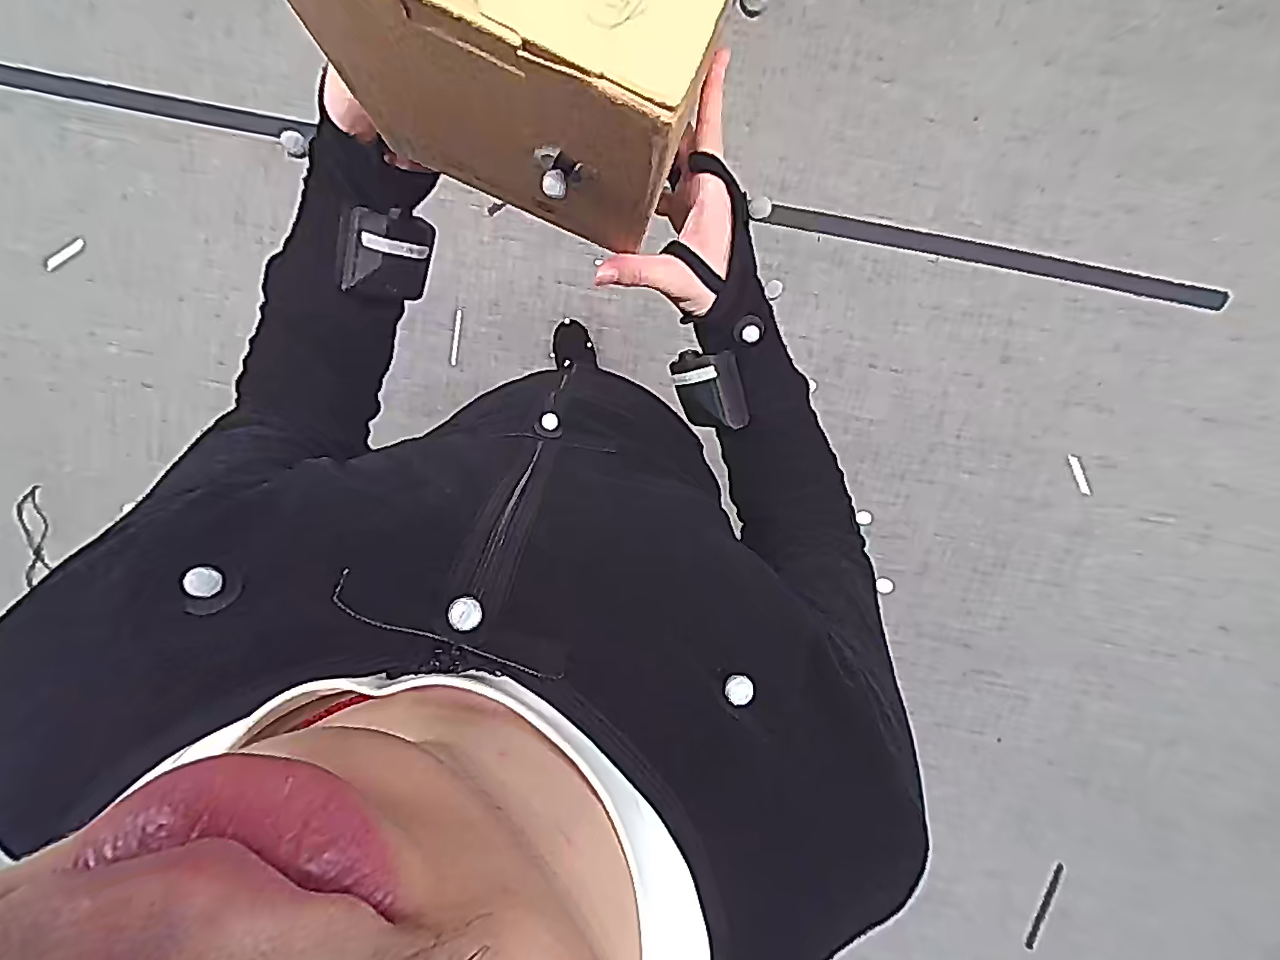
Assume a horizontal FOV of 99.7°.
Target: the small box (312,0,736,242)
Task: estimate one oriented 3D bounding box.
[{"bbox_3d":[-0.038,-0.251,0.267,0.168,0.176,0.179,22,92,-9],"label":"small box"}]
